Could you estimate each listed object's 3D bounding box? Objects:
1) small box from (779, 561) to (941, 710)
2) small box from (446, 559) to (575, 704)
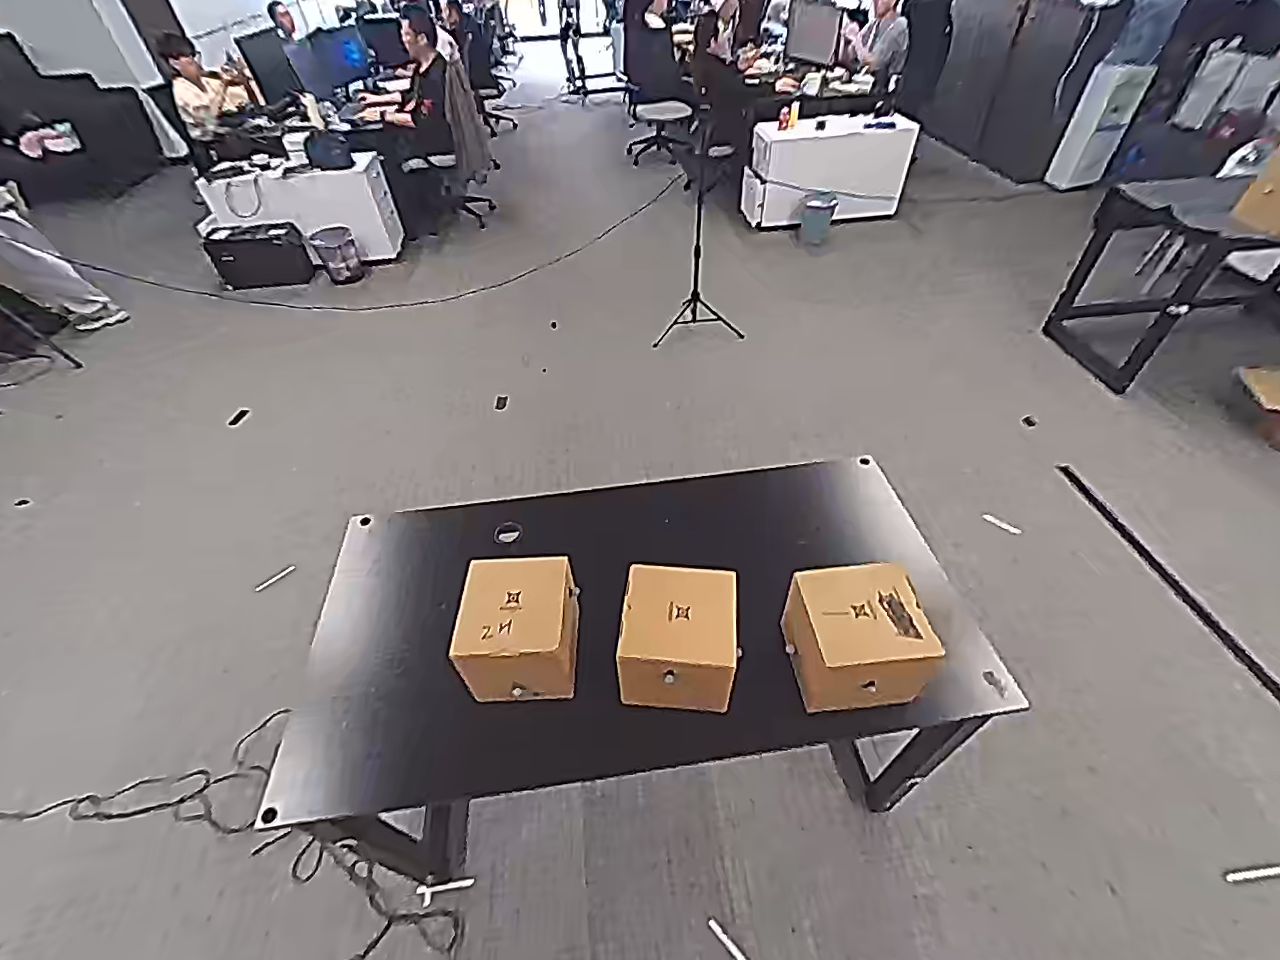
[{"bbox_3d":[0.339,0.253,0.874,0.179,0.176,0.168,-7,45,-1],"label":"small box"},{"bbox_3d":[-0.204,0.253,0.906,0.168,0.176,0.179,-3,46,1],"label":"small box"}]
